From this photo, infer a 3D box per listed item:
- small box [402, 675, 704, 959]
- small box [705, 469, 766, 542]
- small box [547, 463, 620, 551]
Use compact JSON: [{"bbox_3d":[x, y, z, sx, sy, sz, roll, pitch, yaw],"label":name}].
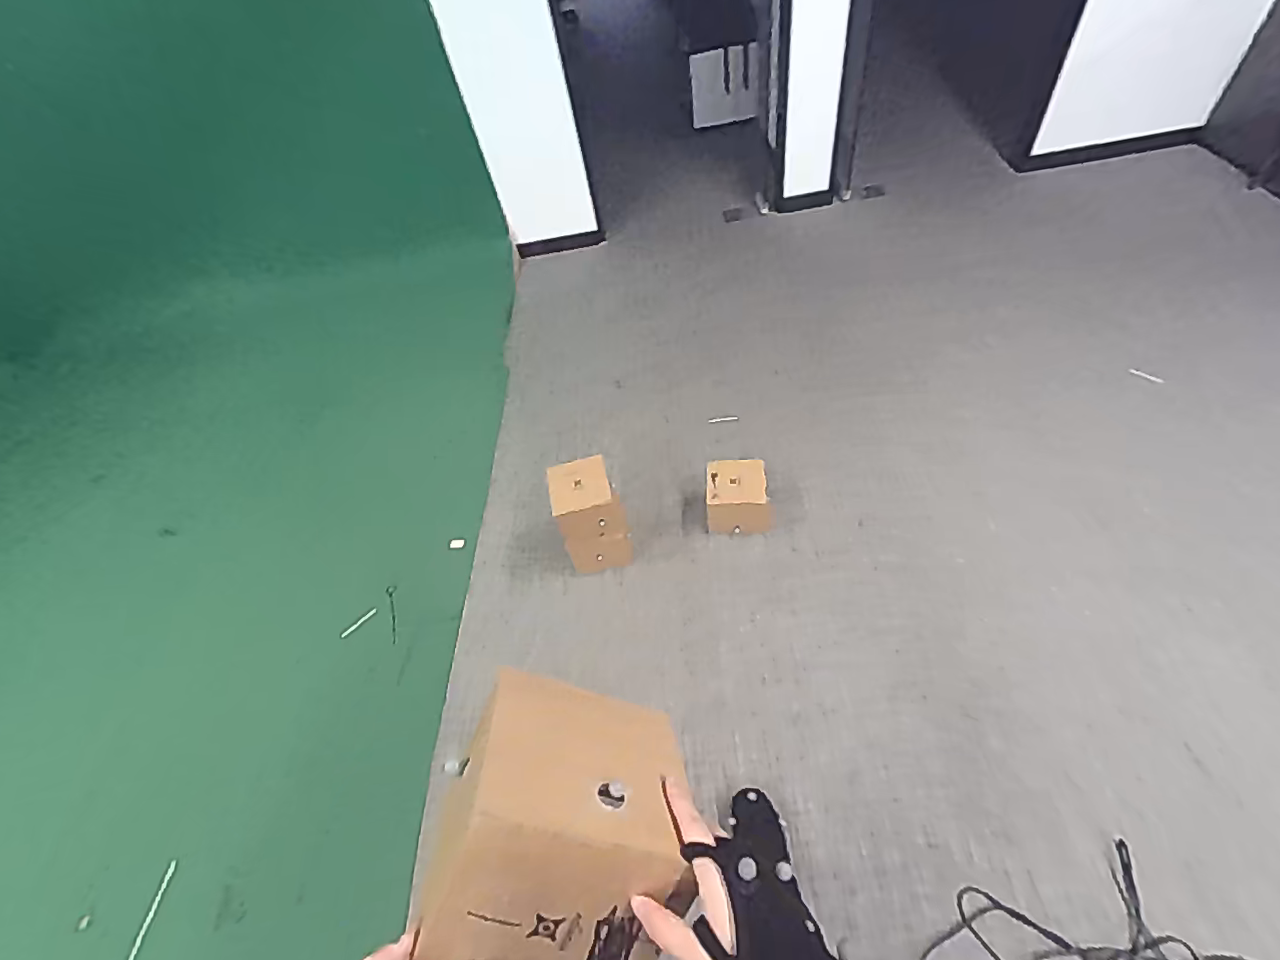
[{"bbox_3d":[-0.073,0.298,0.464,0.179,0.168,0.176,23,10,-12],"label":"small box"},{"bbox_3d":[0.293,0.081,1.675,0.179,0.176,0.168,-1,51,10],"label":"small box"},{"bbox_3d":[-0.159,0.085,1.549,0.168,0.176,0.179,-14,49,-1],"label":"small box"}]
